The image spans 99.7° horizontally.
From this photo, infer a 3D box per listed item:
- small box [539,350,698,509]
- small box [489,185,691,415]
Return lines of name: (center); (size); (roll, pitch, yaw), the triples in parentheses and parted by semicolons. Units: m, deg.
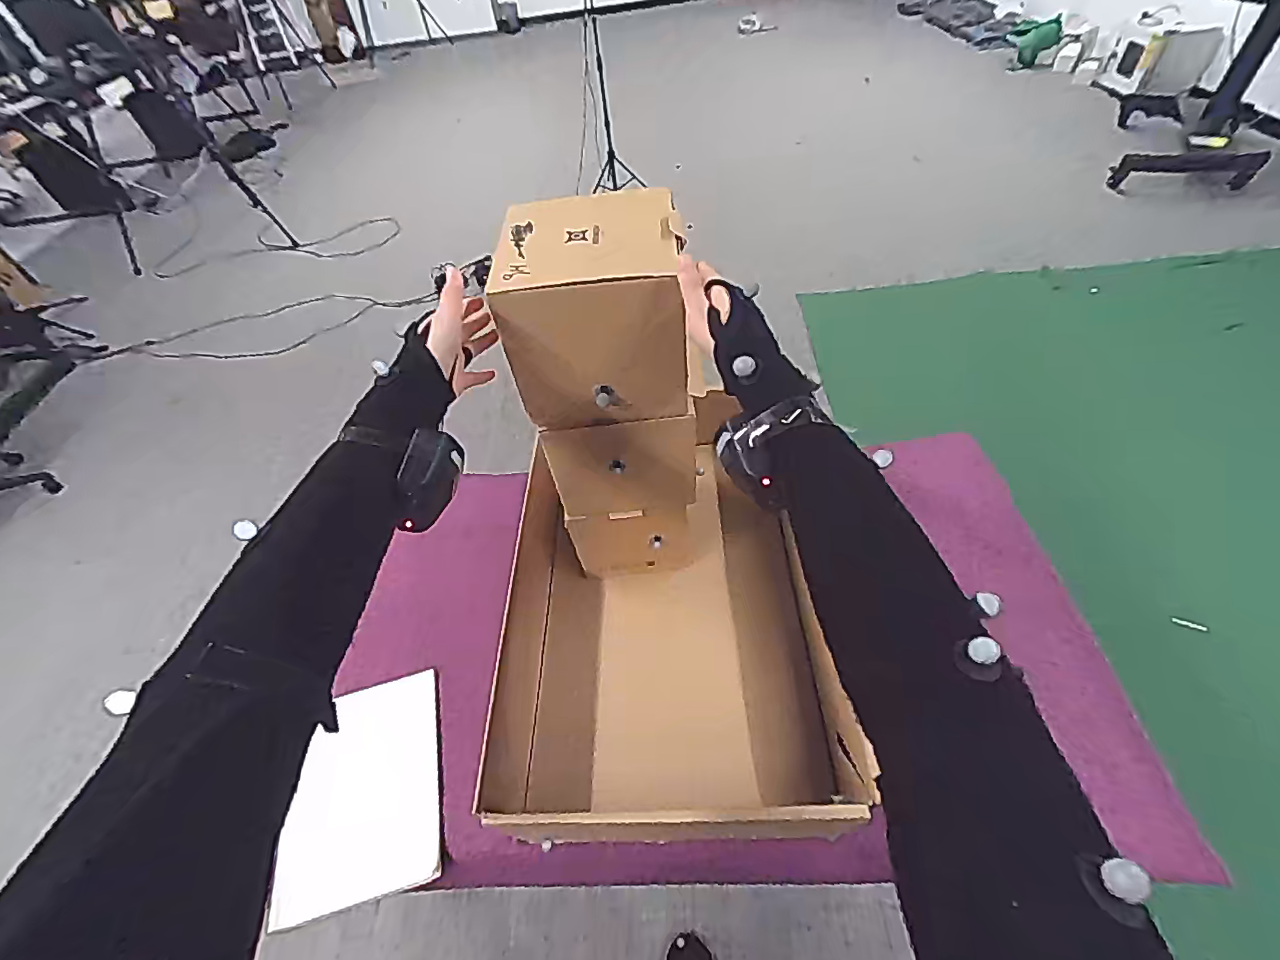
small box: (-0.022, -0.079, 0.697); (0.179, 0.176, 0.168); (-6, 51, 2)
small box: (-0.040, -0.185, 0.572); (0.179, 0.176, 0.168); (-3, 50, 3)
